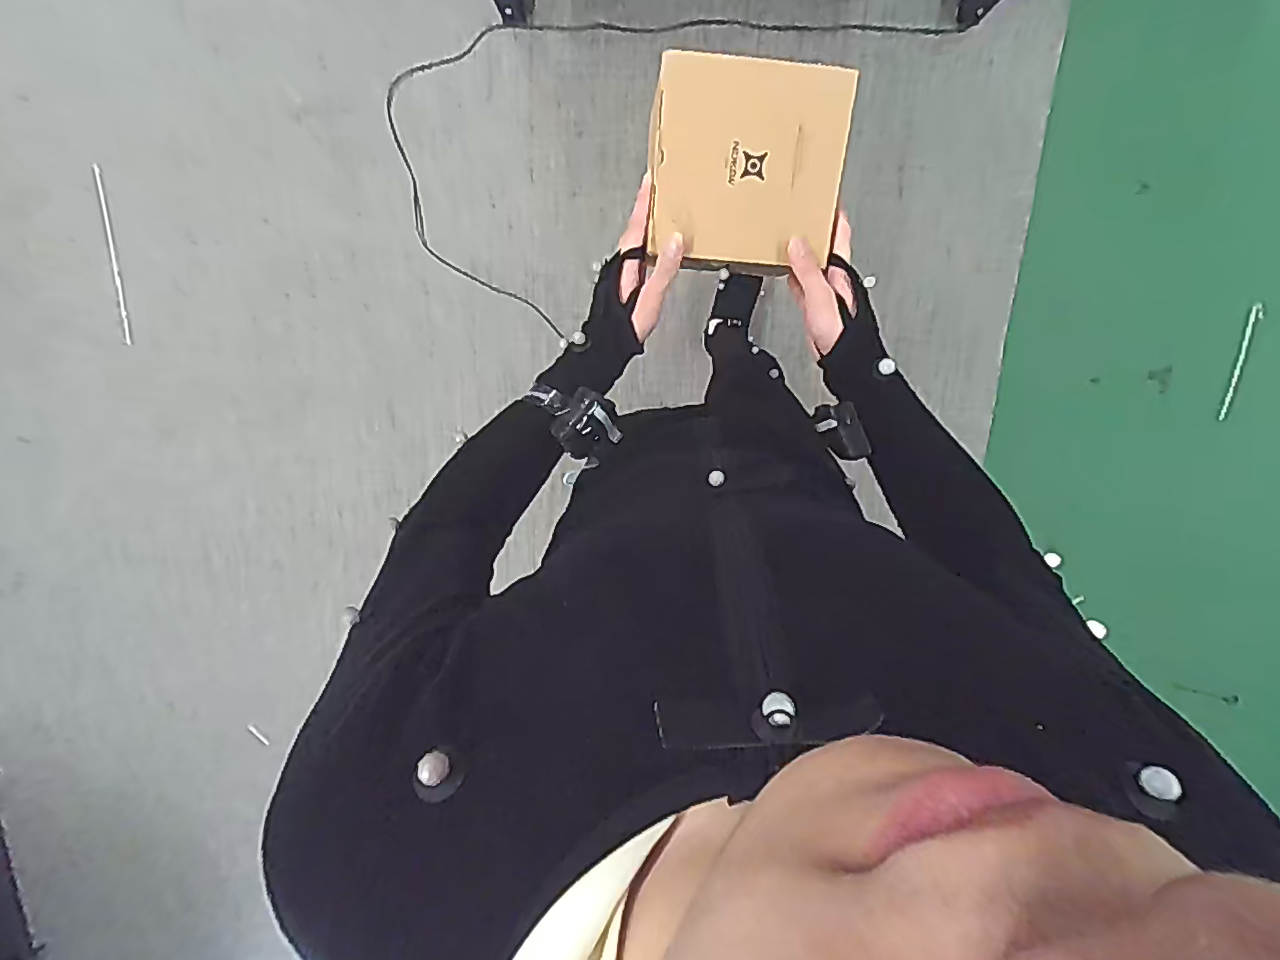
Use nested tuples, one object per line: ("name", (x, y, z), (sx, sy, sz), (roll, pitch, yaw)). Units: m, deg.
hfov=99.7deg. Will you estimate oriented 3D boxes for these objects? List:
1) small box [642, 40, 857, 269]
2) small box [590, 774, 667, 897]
("small box", (0.095, -0.318, 0.567), (0.179, 0.176, 0.168), (4, 108, -3))
("small box", (-0.023, 0.856, 1.312), (0.168, 0.176, 0.179), (5, 102, 2))
